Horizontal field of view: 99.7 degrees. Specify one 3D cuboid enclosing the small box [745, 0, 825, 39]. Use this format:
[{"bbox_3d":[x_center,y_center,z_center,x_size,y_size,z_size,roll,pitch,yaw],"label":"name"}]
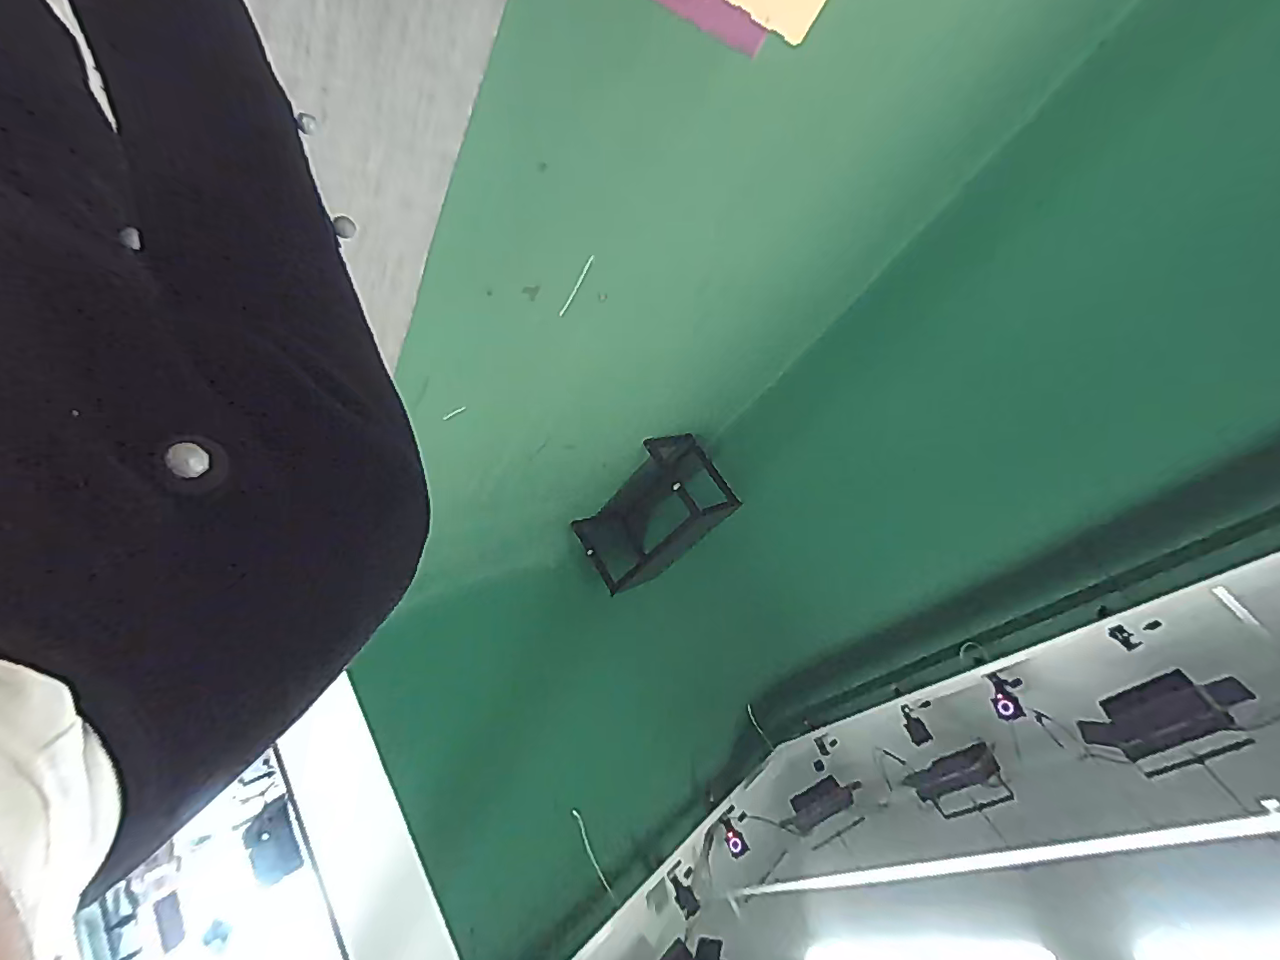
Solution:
[{"bbox_3d":[0.152,-0.674,0.620,0.168,0.176,0.179,-14,155,-42],"label":"small box"}]
